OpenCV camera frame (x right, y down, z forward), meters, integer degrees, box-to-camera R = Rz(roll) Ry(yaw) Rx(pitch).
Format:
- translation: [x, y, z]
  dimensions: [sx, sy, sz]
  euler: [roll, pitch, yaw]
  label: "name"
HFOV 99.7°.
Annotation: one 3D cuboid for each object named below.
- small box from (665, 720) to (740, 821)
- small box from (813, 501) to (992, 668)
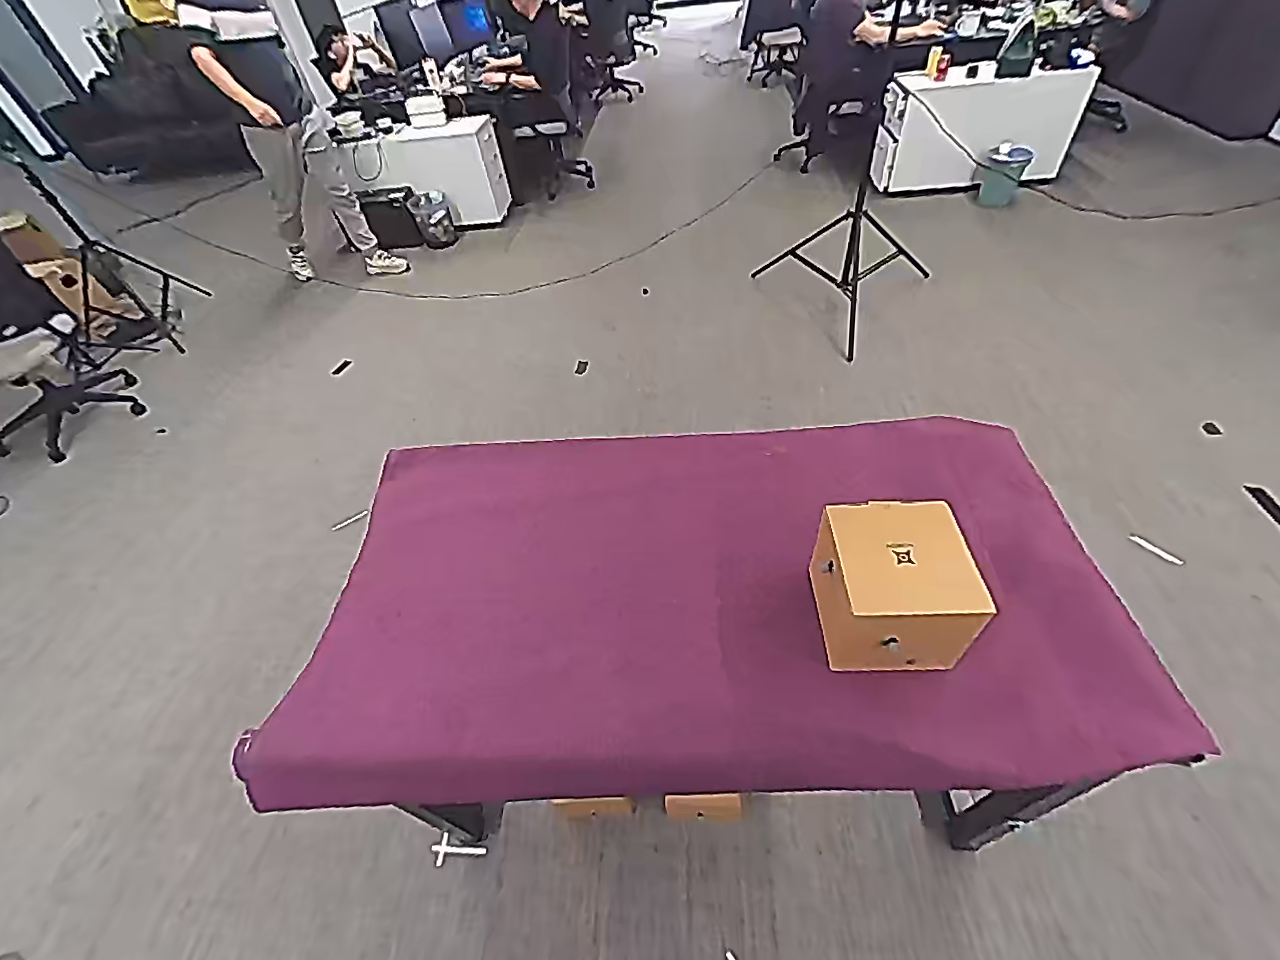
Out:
- translation: [0.150, 0.692, 1.283]
  dimensions: [0.168, 0.176, 0.179]
  euler: [0, 47, 7]
  label: "small box"
- translation: [0.349, 0.151, 0.760]
  dimensions: [0.168, 0.176, 0.179]
  euler: [-3, 47, 5]
  label: "small box"
